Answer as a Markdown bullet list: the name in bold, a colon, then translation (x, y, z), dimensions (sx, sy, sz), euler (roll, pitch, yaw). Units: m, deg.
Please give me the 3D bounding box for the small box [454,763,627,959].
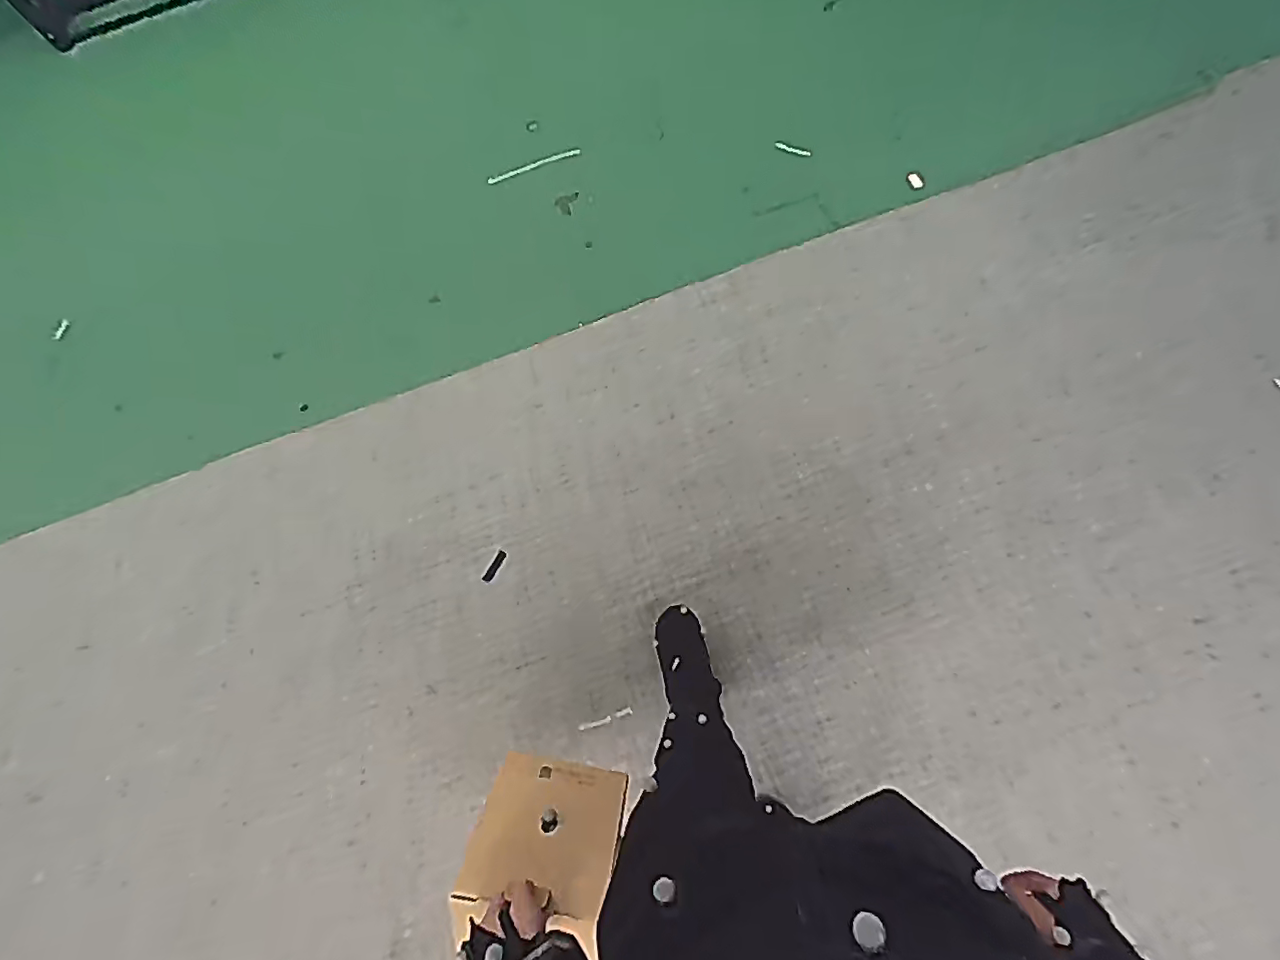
- **small box**: translation (-0.111, 0.483, 0.664), dimensions (0.168, 0.179, 0.176), euler (7, 26, 5)
